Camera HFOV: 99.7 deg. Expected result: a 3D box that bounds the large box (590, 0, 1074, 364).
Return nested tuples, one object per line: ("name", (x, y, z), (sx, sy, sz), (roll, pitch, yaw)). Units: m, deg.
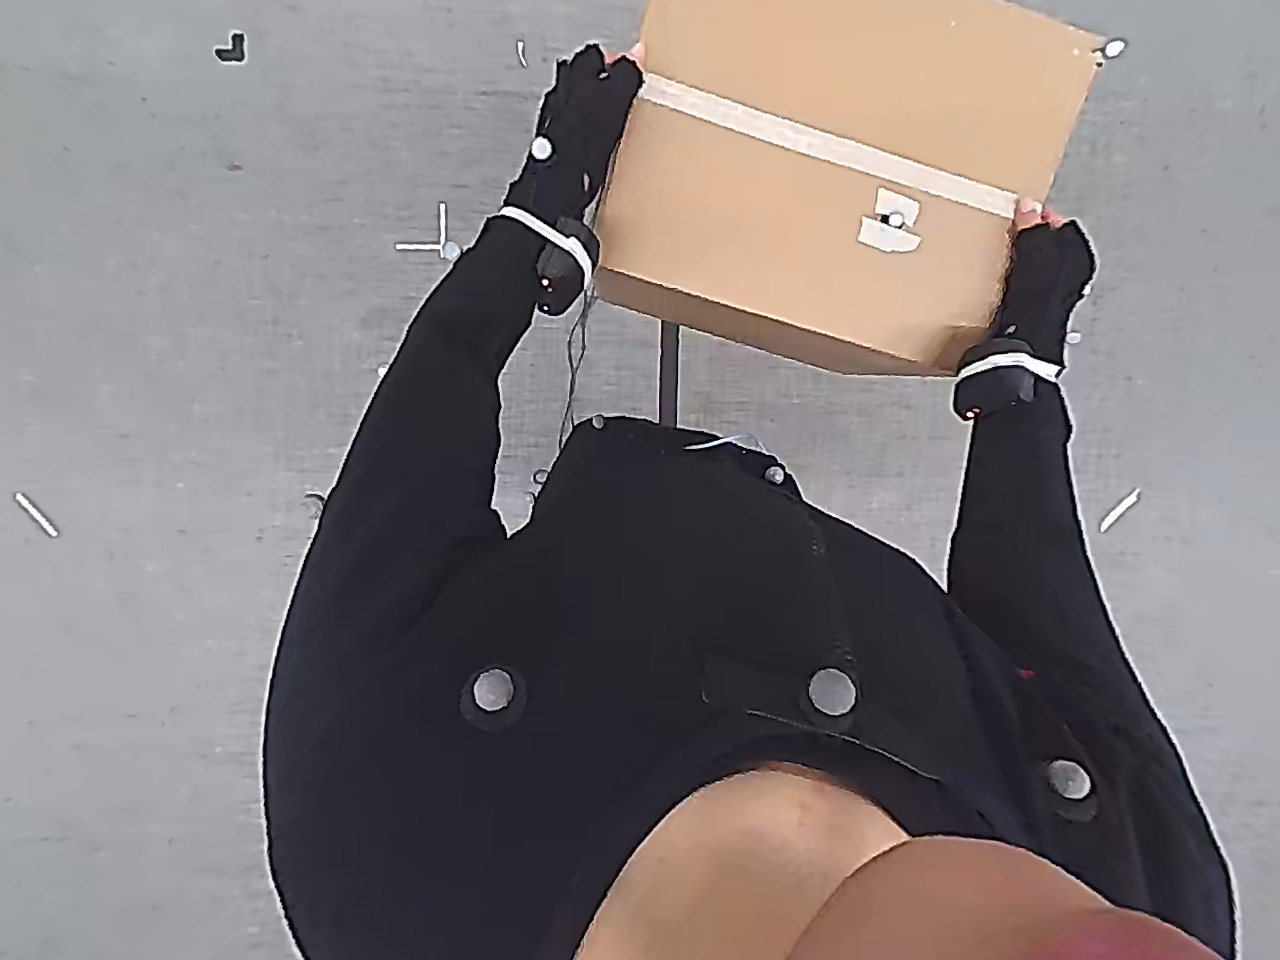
("large box", (0.169, -0.340, 0.656), (0.408, 0.320, 0.320), (14, 101, -6))
